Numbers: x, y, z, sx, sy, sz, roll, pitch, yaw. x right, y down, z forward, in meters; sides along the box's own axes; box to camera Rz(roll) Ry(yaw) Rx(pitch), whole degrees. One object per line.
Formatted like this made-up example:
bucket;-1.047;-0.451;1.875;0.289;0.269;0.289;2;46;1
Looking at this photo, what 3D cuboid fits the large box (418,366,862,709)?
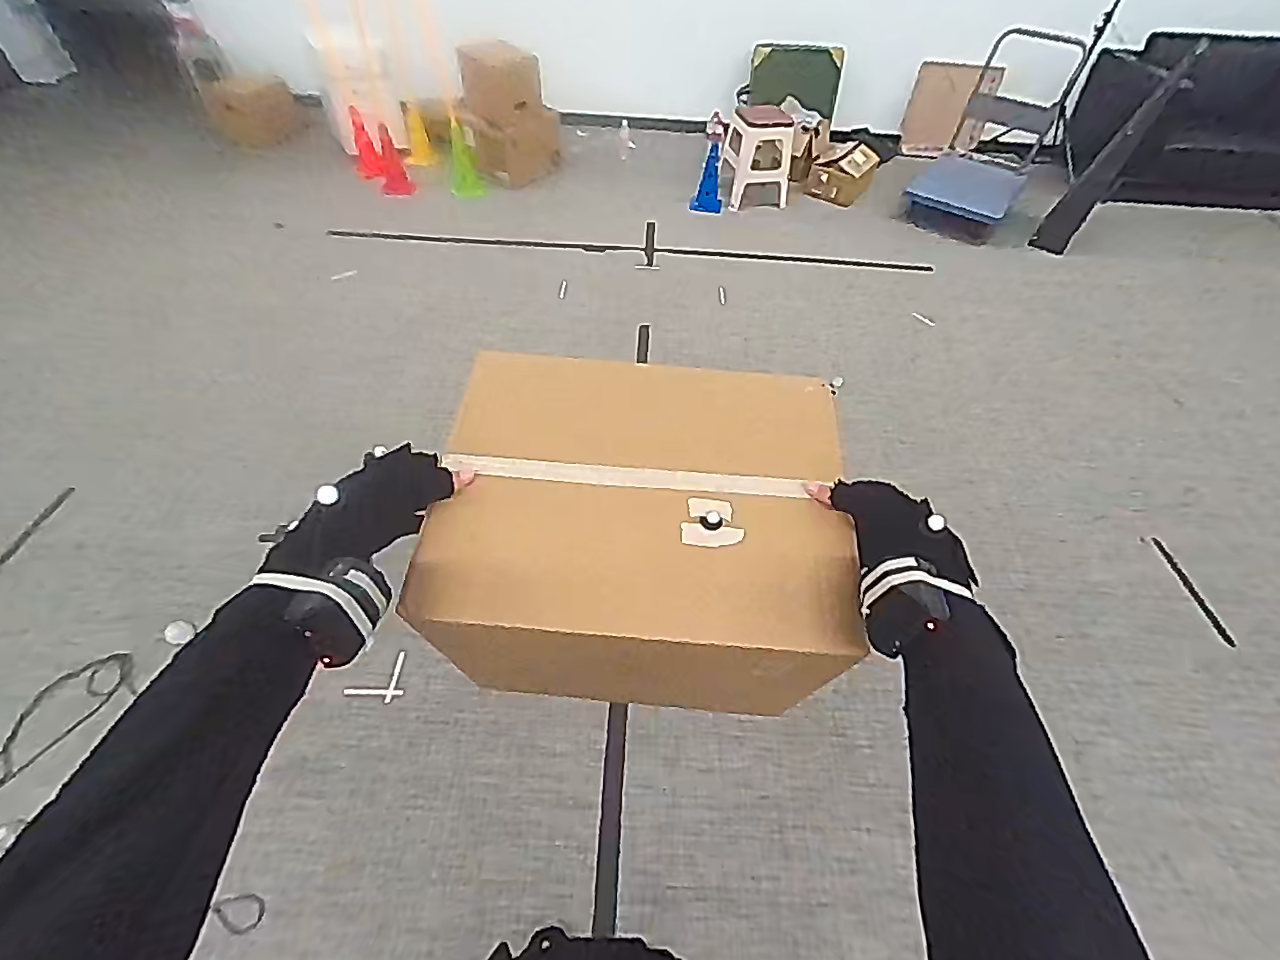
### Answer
large box;0.001;0.087;0.679;0.408;0.320;0.320;5;58;0
